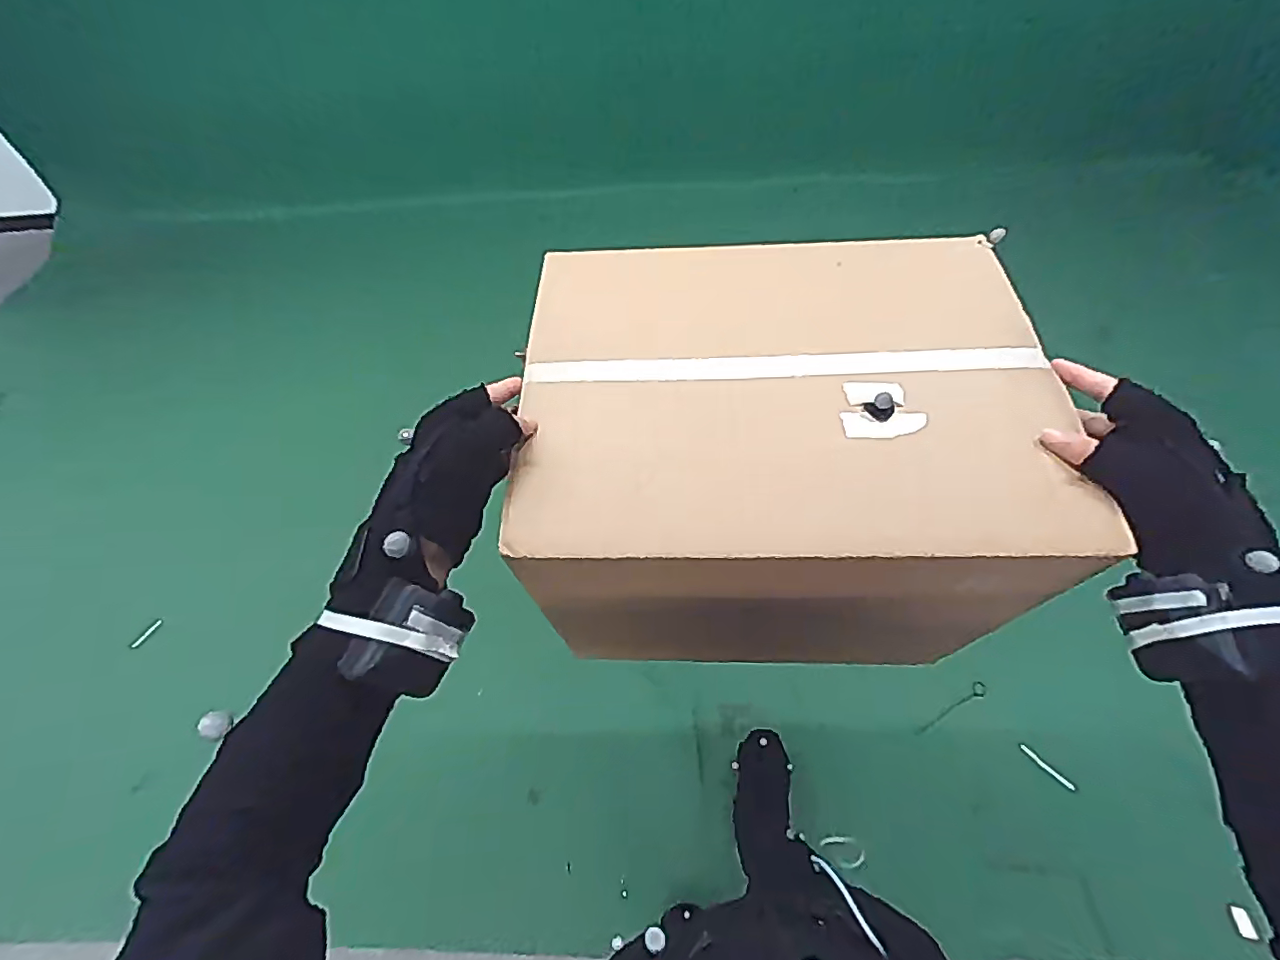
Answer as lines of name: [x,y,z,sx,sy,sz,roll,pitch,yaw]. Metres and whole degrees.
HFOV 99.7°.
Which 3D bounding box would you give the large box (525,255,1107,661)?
large box: [0.122,-0.003,0.570,0.408,0.320,0.320,-1,59,3]
